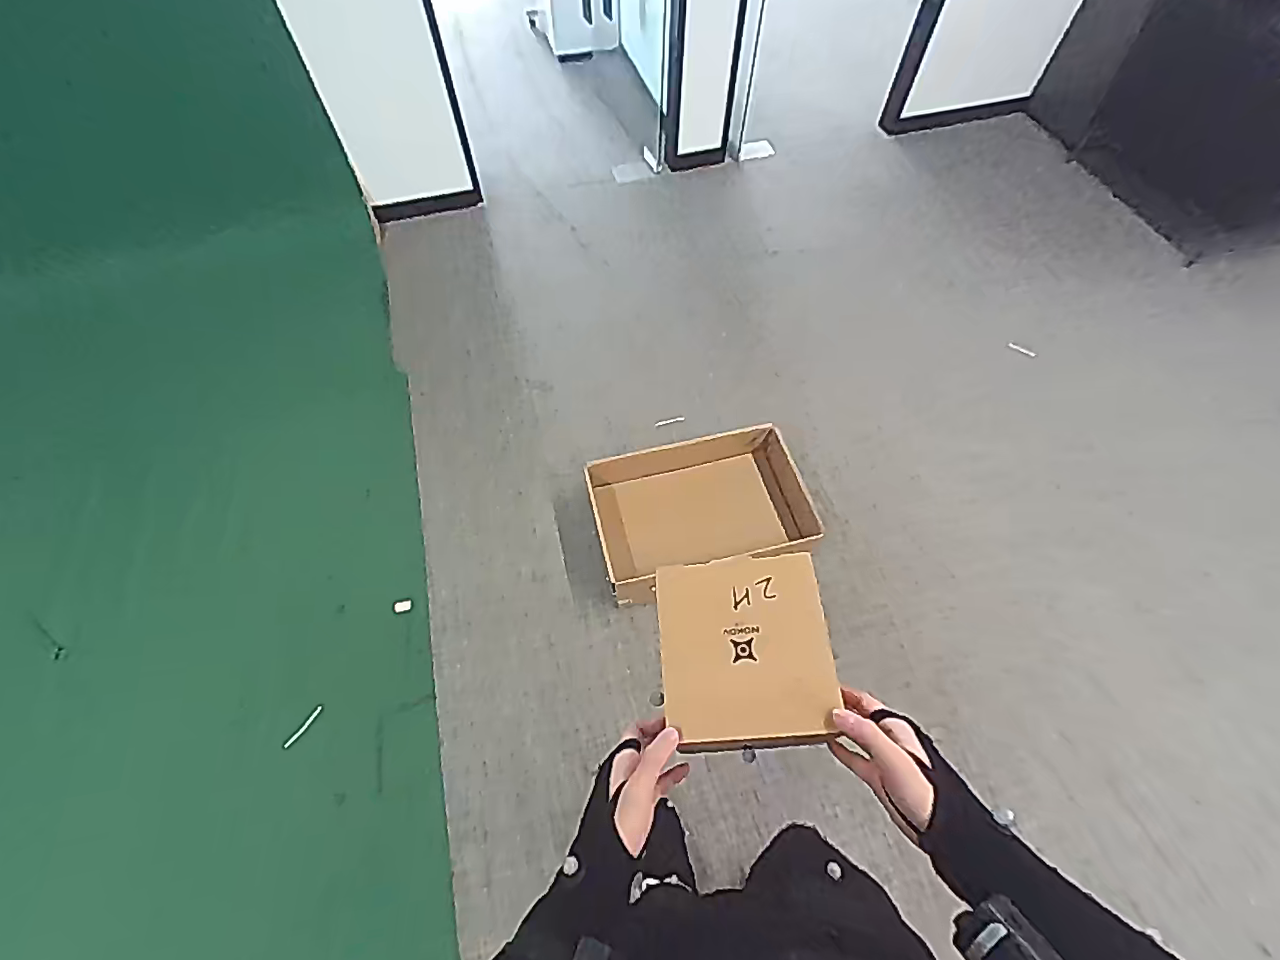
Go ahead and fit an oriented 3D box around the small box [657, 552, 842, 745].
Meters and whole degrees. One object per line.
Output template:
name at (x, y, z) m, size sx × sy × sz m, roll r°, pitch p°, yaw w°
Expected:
small box at (0.115, 0.199, 0.613) m, size 0.168 × 0.176 × 0.179 m, roll -7°, pitch 60°, yaw 5°
